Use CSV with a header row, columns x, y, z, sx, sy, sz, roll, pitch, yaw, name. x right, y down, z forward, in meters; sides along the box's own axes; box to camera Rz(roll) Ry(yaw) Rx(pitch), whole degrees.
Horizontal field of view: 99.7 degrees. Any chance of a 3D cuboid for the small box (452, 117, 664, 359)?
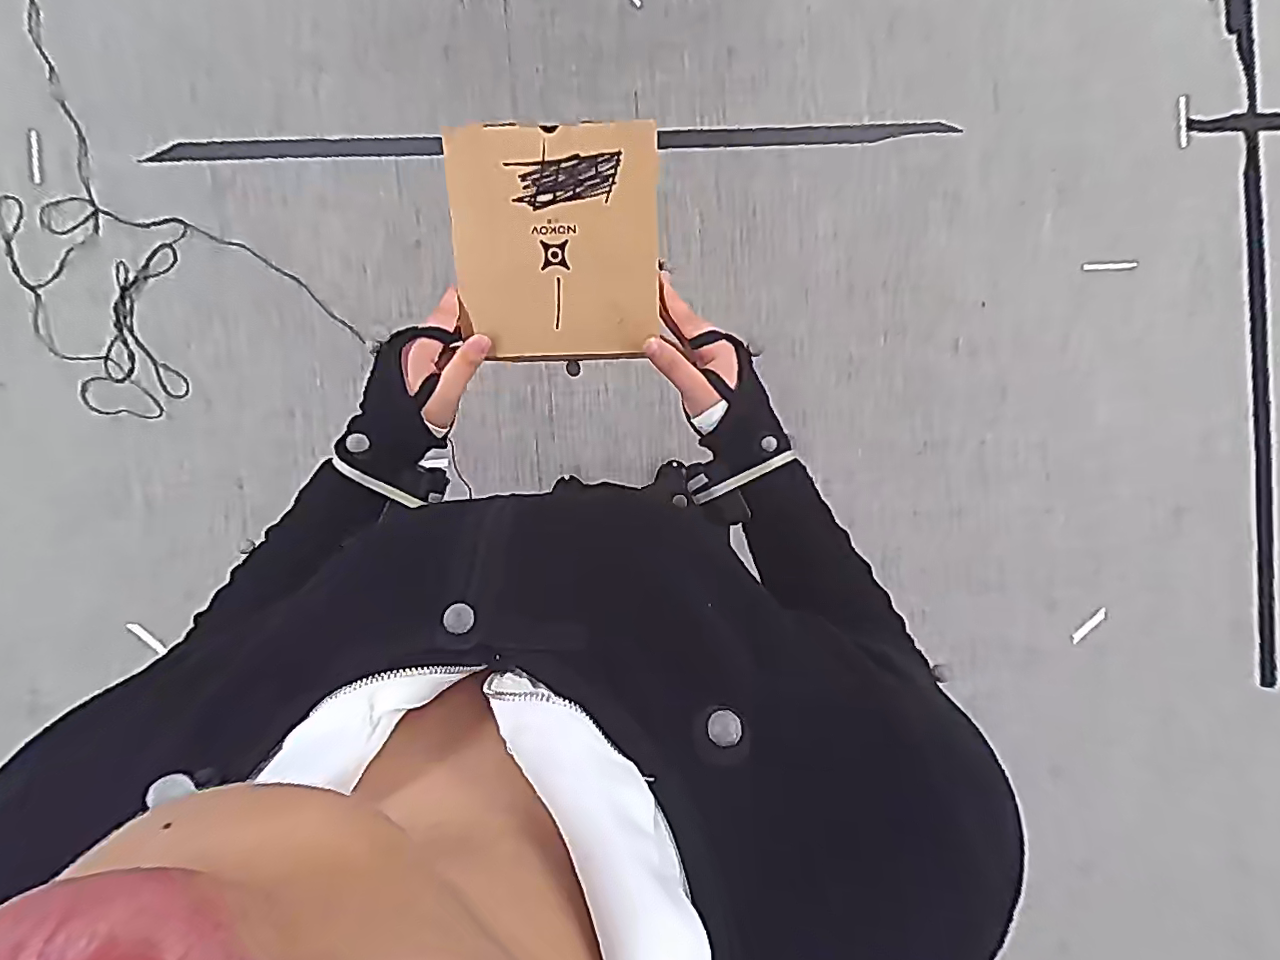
x,y,z,sx,sy,sz,roll,pitch,yaw,name
-0.063,-0.208,0.510,0.168,0.176,0.179,-1,101,1,small box
